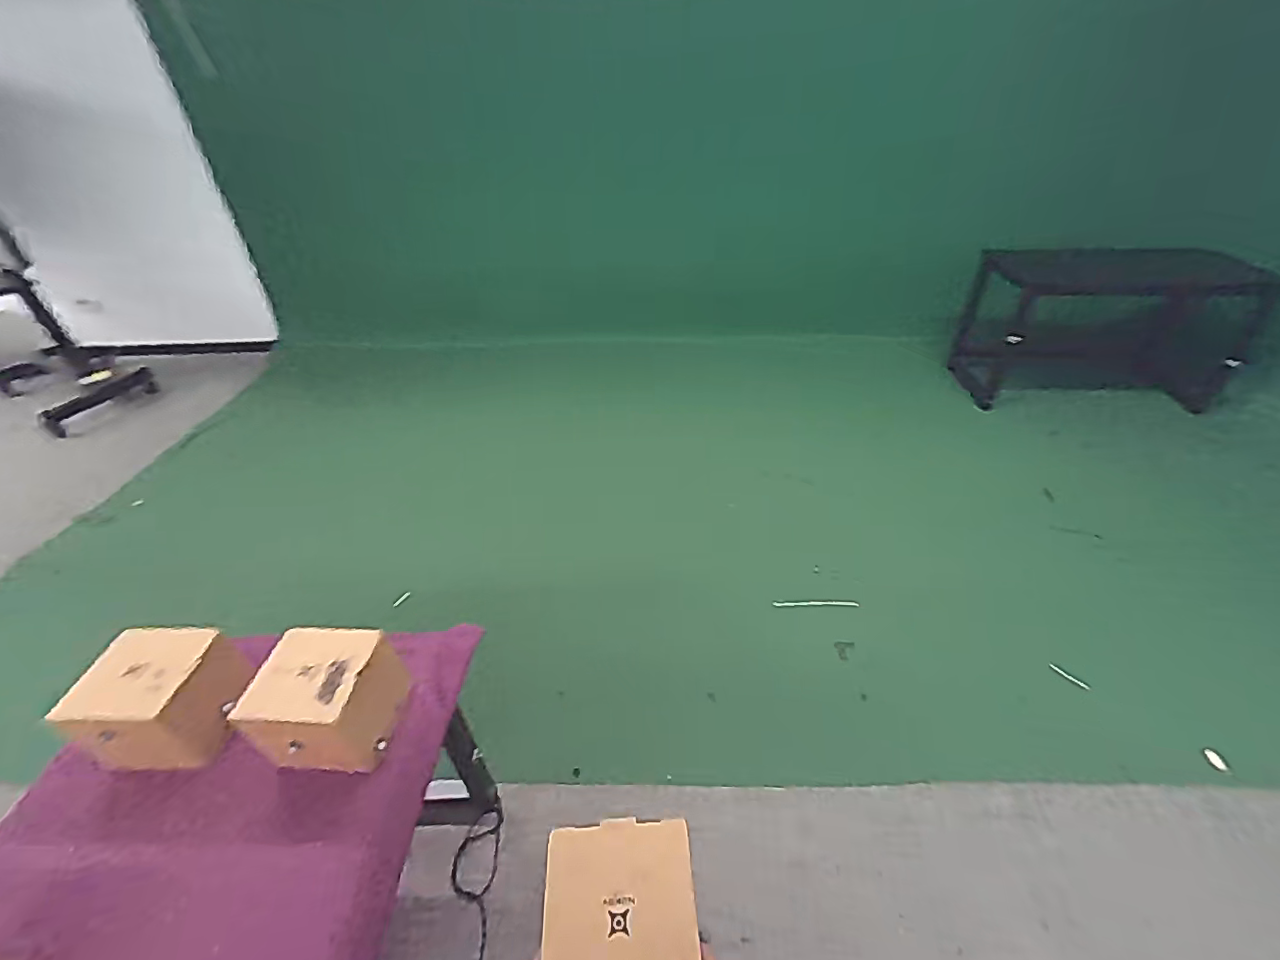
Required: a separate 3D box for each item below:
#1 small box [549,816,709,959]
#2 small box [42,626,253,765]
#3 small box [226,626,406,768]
[{"bbox_3d":[-0.009,0.523,0.630,0.168,0.176,0.179,-4,40,1],"label":"small box"},{"bbox_3d":[-0.820,0.370,0.928,0.179,0.176,0.168,0,40,1],"label":"small box"},{"bbox_3d":[-0.529,0.369,0.917,0.179,0.176,0.168,0,39,5],"label":"small box"}]
